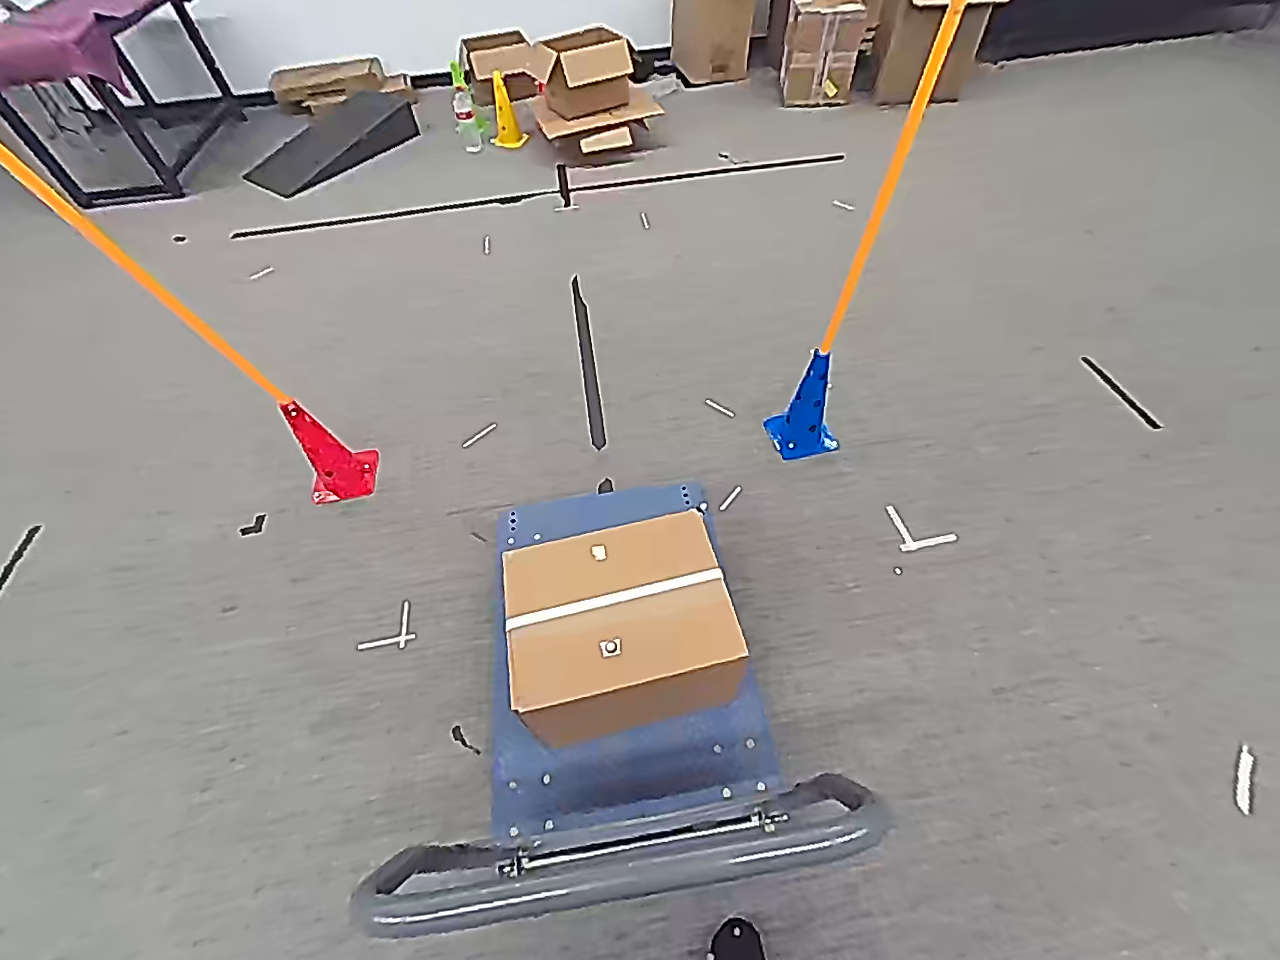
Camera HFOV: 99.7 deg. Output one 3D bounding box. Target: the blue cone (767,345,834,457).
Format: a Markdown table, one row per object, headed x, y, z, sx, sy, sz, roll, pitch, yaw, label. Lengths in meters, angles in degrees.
| x | y | z | sx | sy | sz | roll | pitch | yaw | label |
| --- | --- | --- | --- | --- | --- | --- | --- | --- | --- |
| 0.541 | -0.260 | 1.718 | 0.193 | 0.380 | 0.192 | -12 | 52 | -6 | blue cone |
